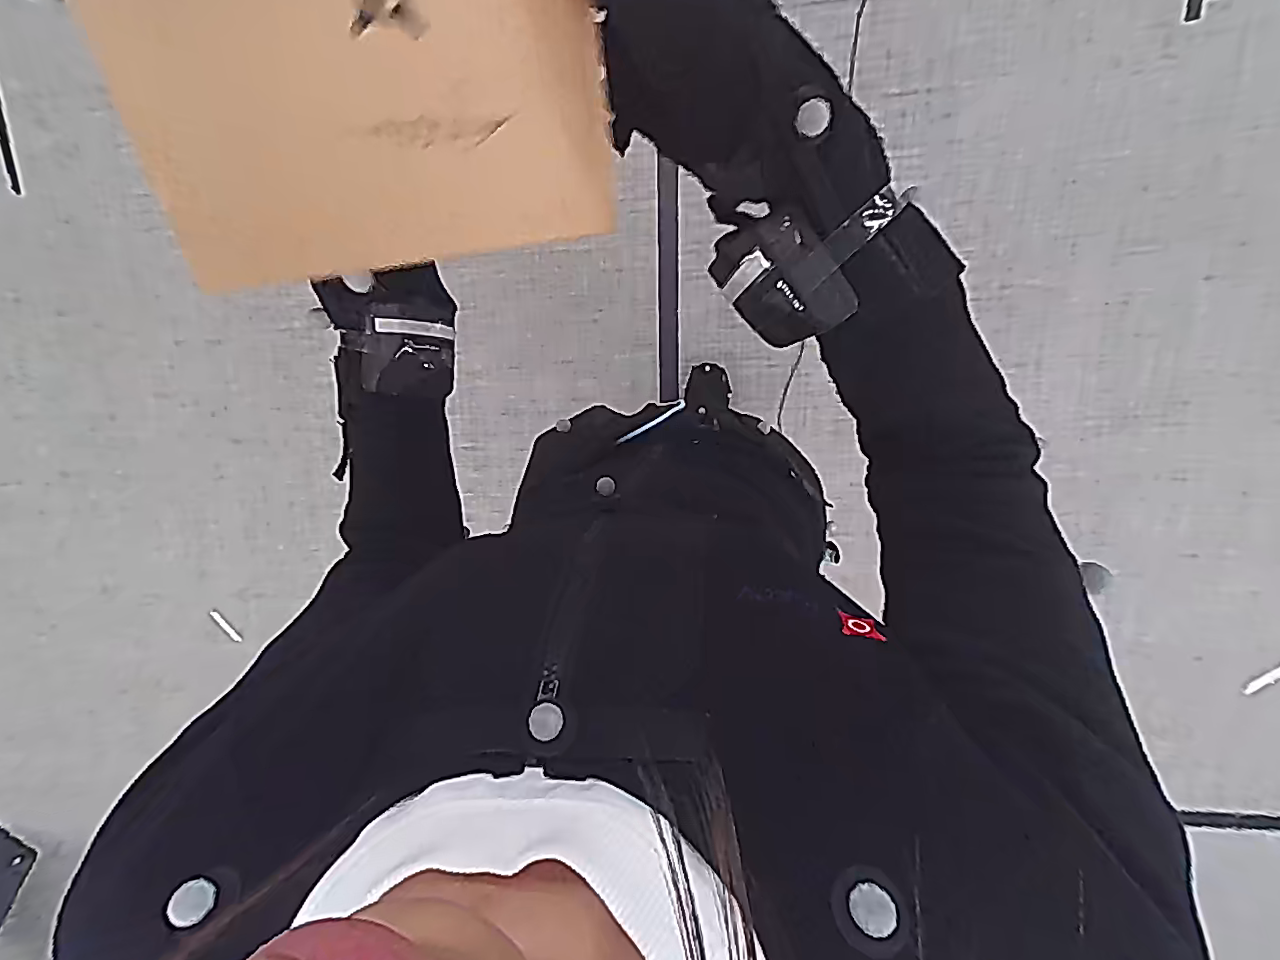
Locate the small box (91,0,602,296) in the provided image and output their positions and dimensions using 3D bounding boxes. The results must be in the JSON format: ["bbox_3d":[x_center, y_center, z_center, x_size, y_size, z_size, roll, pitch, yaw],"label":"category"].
[{"bbox_3d":[-0.138,-0.198,0.263,0.168,0.176,0.179,-20,121,-22],"label":"small box"}]
